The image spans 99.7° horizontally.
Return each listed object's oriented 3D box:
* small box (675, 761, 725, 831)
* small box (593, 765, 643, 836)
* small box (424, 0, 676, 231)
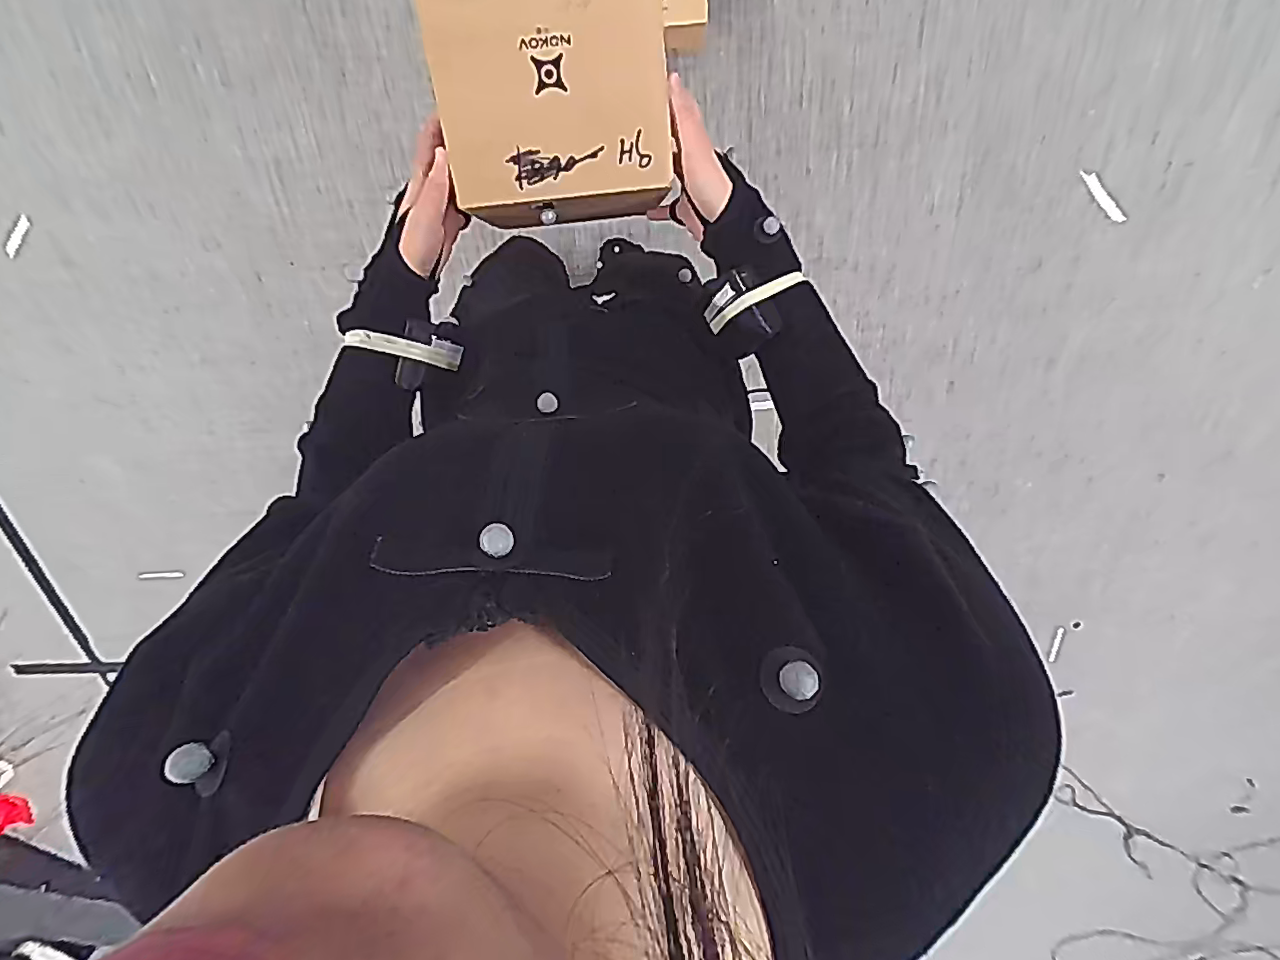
[{"bbox_3d":[0.223,1.181,2.024,0.179,0.176,0.168,-2,114,4],"label":"small box"},{"bbox_3d":[-0.080,1.213,2.048,0.168,0.176,0.179,-4,114,4],"label":"small box"},{"bbox_3d":[-0.067,-0.317,0.451,0.168,0.176,0.179,-7,110,-2],"label":"small box"}]
